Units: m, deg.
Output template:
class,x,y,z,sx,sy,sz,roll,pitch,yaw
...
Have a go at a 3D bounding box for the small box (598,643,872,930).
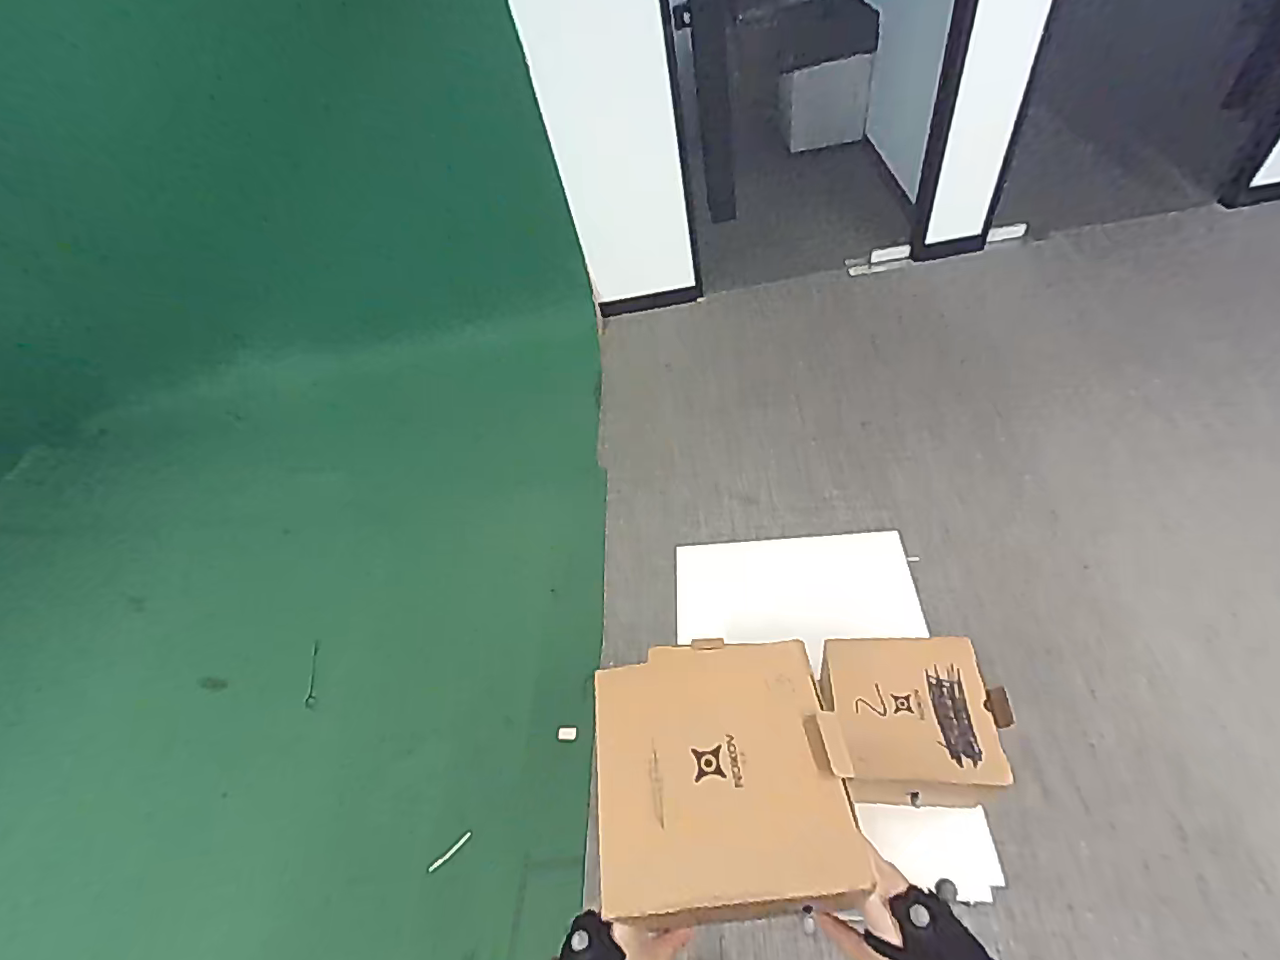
class,x,y,z,sx,sy,sz,roll,pitch,yaw
small box,0.070,0.259,0.451,0.179,0.176,0.168,-11,46,6
